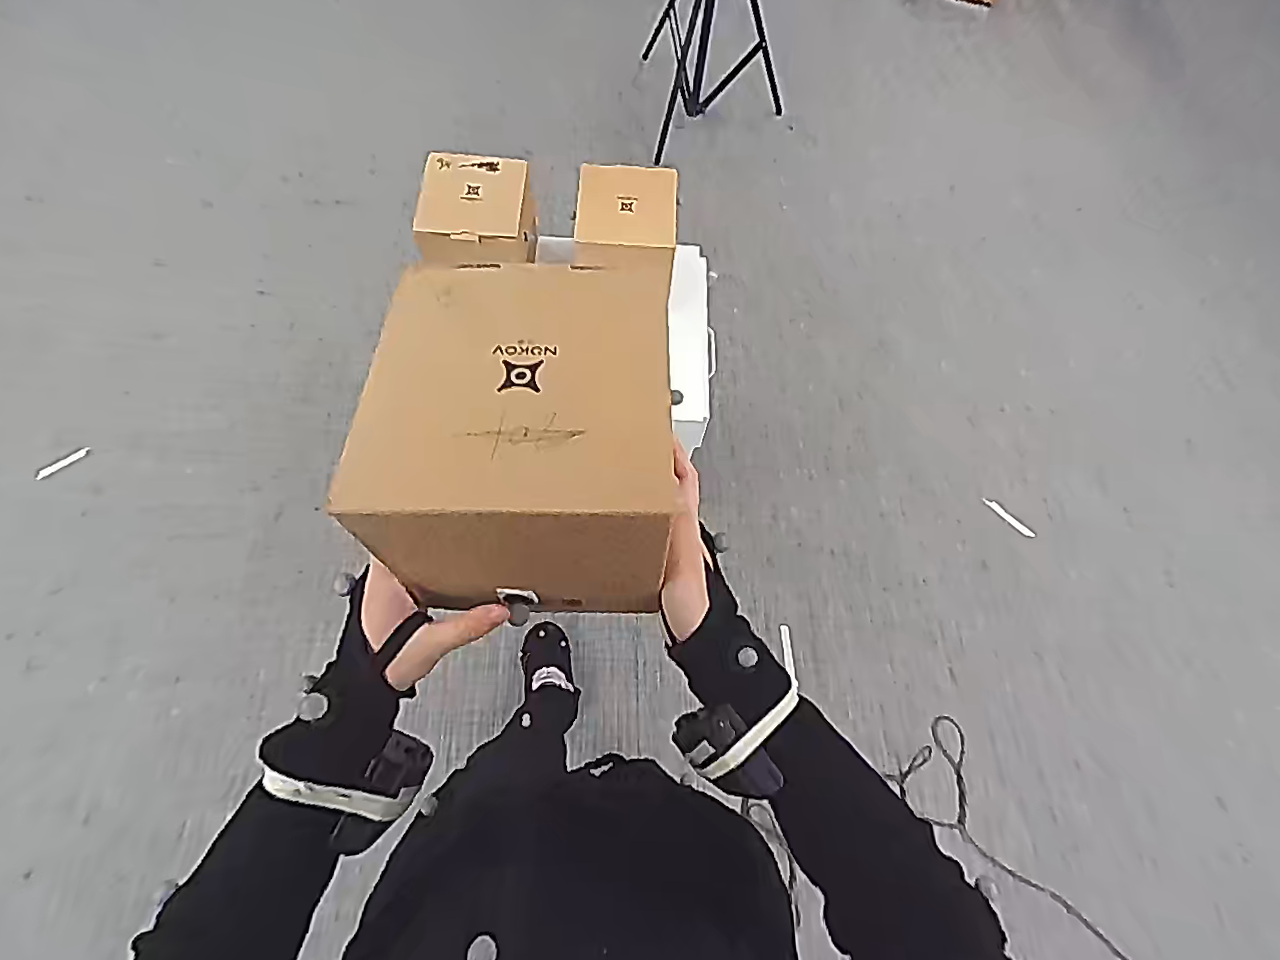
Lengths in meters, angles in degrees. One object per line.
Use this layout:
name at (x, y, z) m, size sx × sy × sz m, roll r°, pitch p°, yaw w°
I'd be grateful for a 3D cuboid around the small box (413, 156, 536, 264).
small box at (-0.278, -0.428, 0.952) m, size 0.168 × 0.176 × 0.179 m, roll 3°, pitch 70°, yaw -4°

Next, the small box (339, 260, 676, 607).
small box at (-0.066, -0.023, 0.370) m, size 0.168 × 0.176 × 0.179 m, roll -1°, pitch 61°, yaw -1°

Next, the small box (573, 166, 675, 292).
small box at (-0.027, -0.422, 0.968) m, size 0.168 × 0.176 × 0.179 m, roll 2°, pitch 69°, yaw -2°
